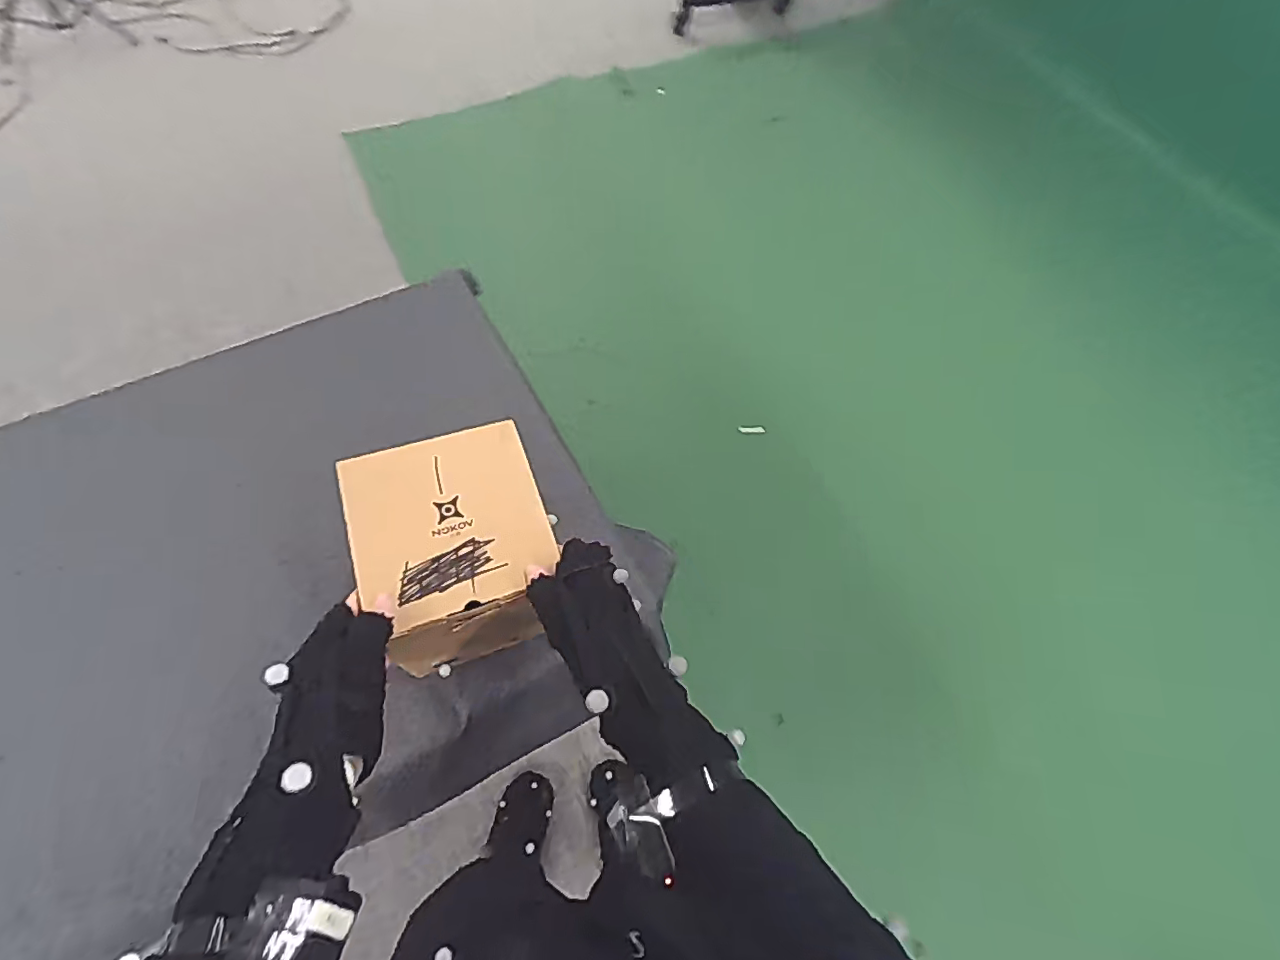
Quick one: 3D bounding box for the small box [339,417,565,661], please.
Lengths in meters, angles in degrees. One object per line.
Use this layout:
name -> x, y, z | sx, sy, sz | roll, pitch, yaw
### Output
small box -> -0.176, 0.069, 0.543 | 0.168, 0.176, 0.179 | -16, 65, -16
